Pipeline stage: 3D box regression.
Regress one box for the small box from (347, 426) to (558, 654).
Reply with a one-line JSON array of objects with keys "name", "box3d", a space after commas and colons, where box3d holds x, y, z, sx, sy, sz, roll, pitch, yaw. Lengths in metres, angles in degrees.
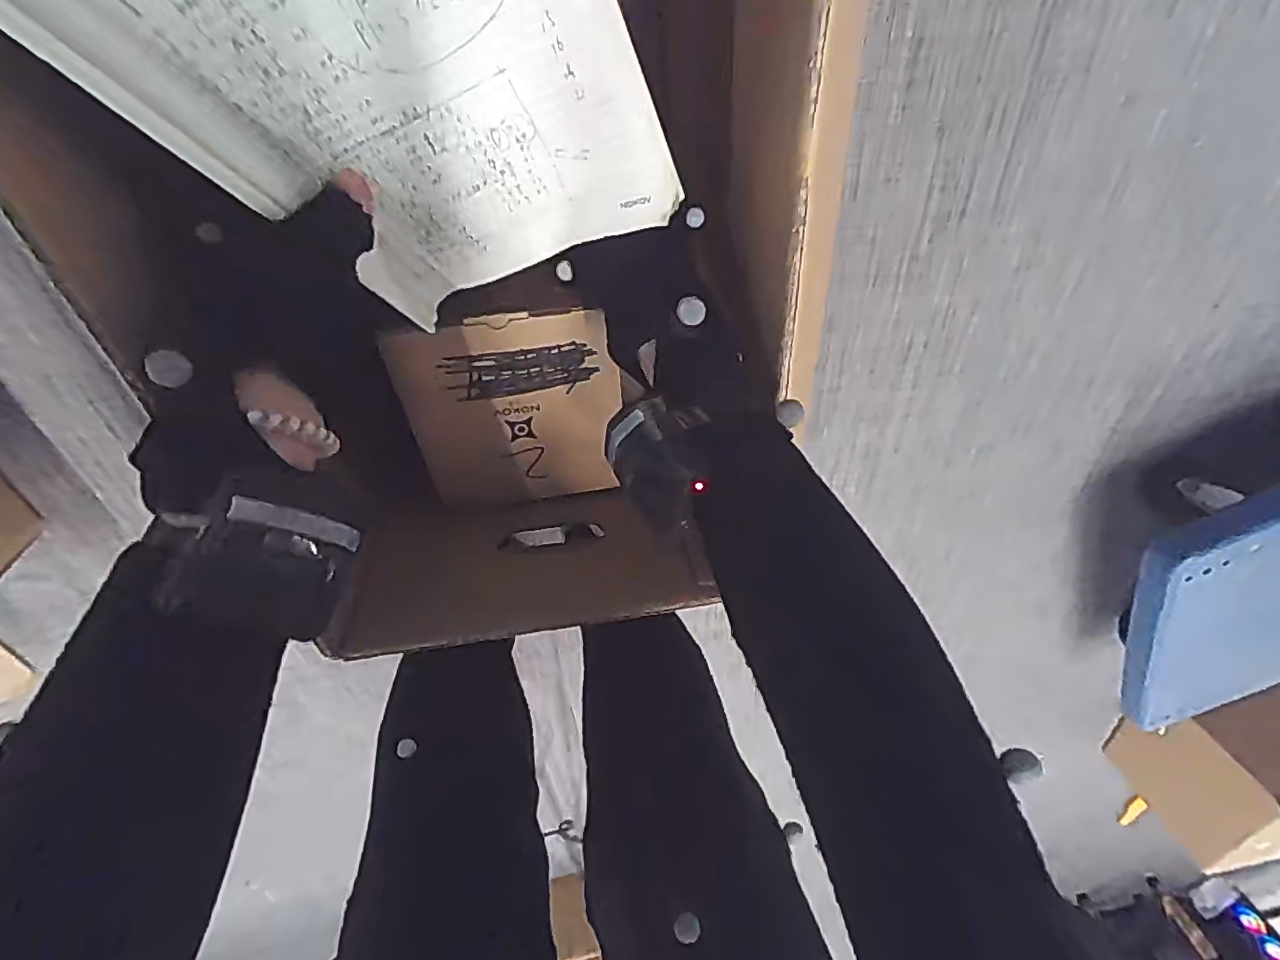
[{"name": "small box", "box3d": [-0.221, 0.069, 0.638, 0.179, 0.176, 0.168, 24, 126, -3]}]
